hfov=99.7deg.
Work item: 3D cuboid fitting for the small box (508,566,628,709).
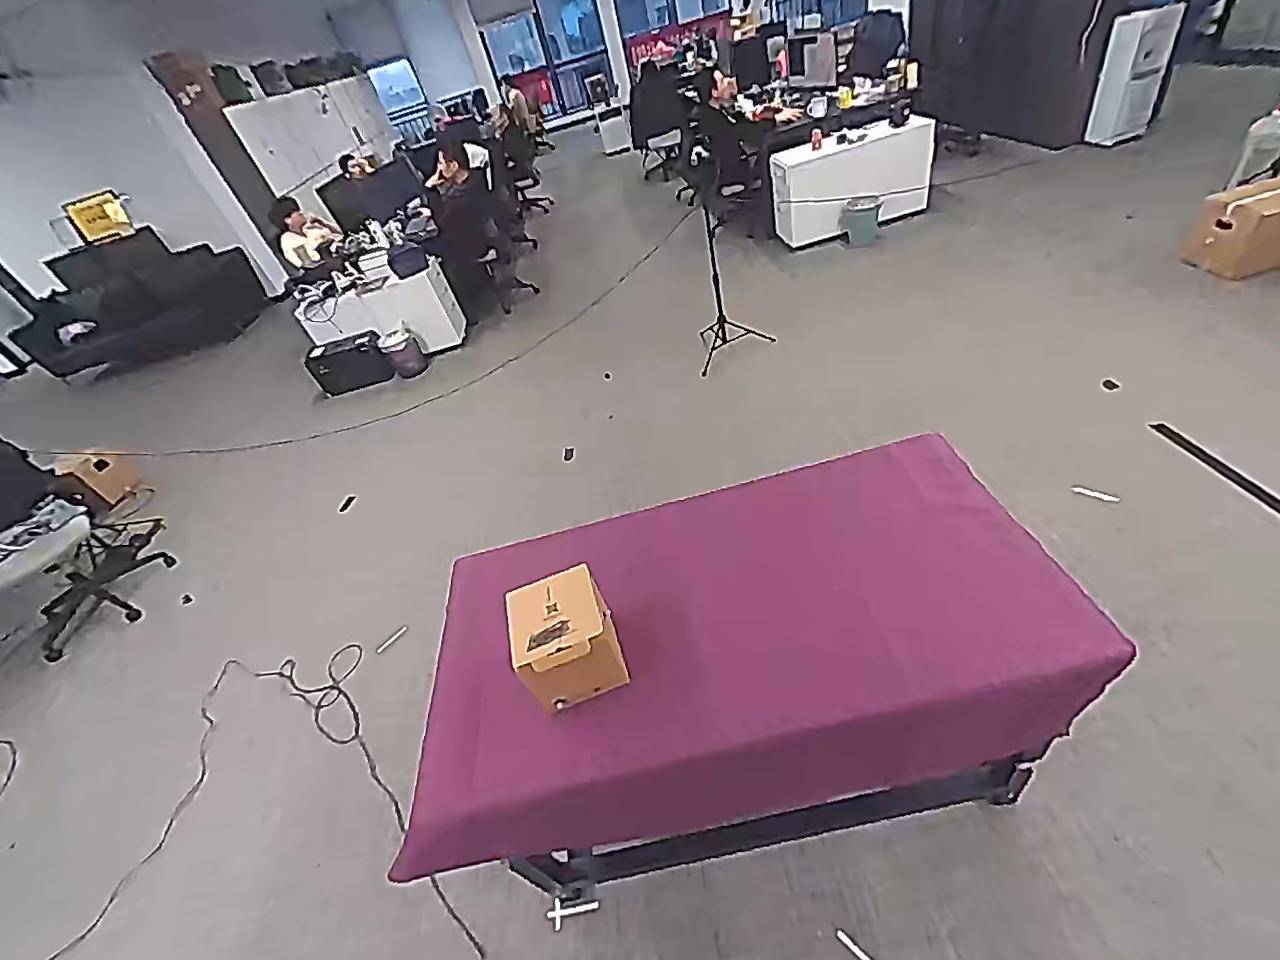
[{"bbox_3d":[-0.133,0.301,1.014,0.168,0.176,0.179,-21,39,-4],"label":"small box"}]
